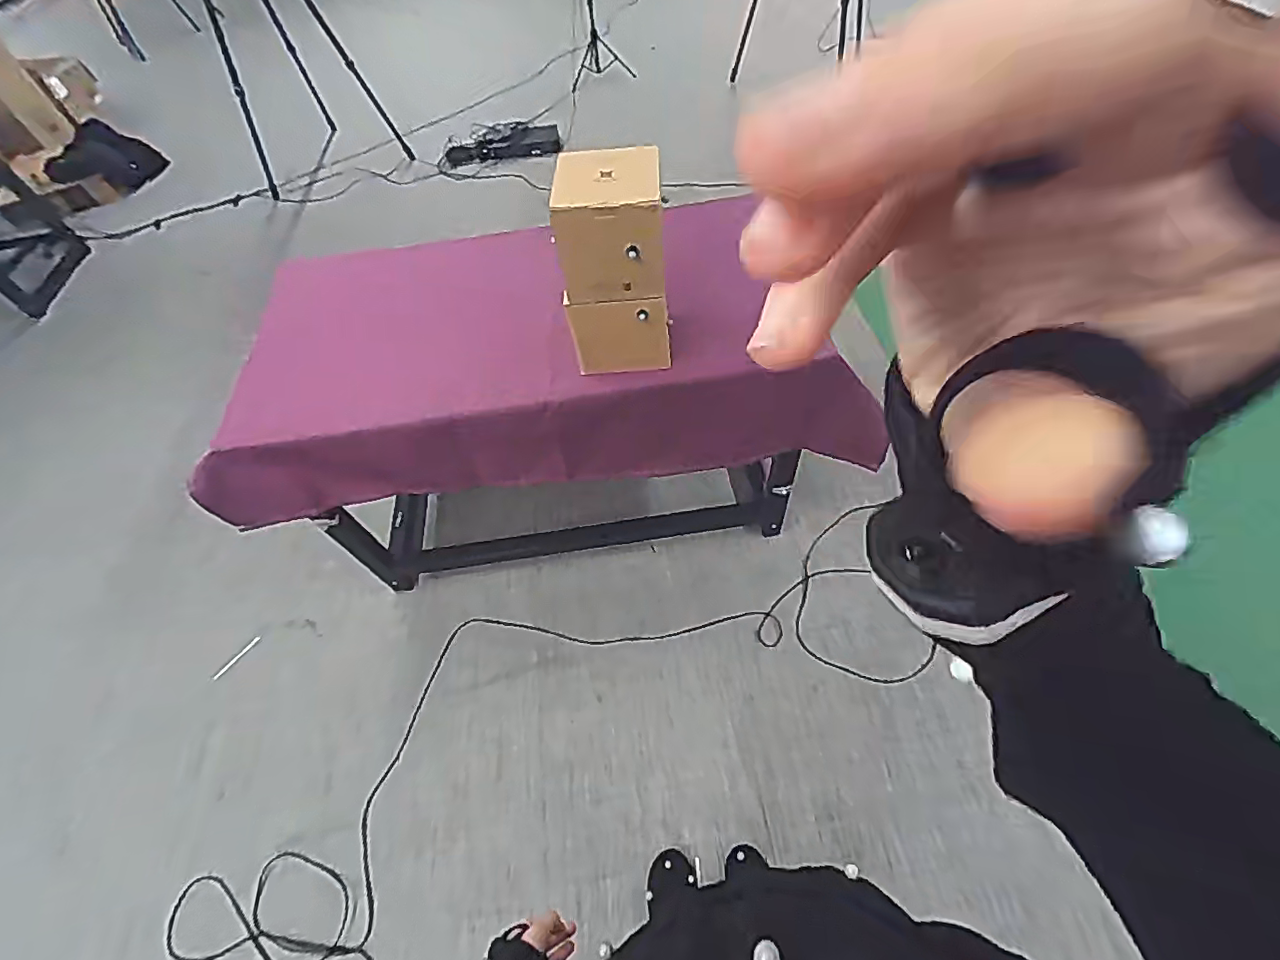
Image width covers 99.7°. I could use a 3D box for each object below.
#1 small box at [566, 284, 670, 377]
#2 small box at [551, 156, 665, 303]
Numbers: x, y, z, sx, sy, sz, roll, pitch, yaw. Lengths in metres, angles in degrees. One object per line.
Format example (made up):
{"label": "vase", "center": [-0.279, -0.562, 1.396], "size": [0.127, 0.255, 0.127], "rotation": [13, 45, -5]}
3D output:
{"label": "small box", "center": [-0.036, -0.315, 1.040], "size": [0.179, 0.176, 0.168], "rotation": [-3, 54, 4]}
{"label": "small box", "center": [-0.043, -0.414, 0.911], "size": [0.168, 0.176, 0.179], "rotation": [-1, 53, 4]}
